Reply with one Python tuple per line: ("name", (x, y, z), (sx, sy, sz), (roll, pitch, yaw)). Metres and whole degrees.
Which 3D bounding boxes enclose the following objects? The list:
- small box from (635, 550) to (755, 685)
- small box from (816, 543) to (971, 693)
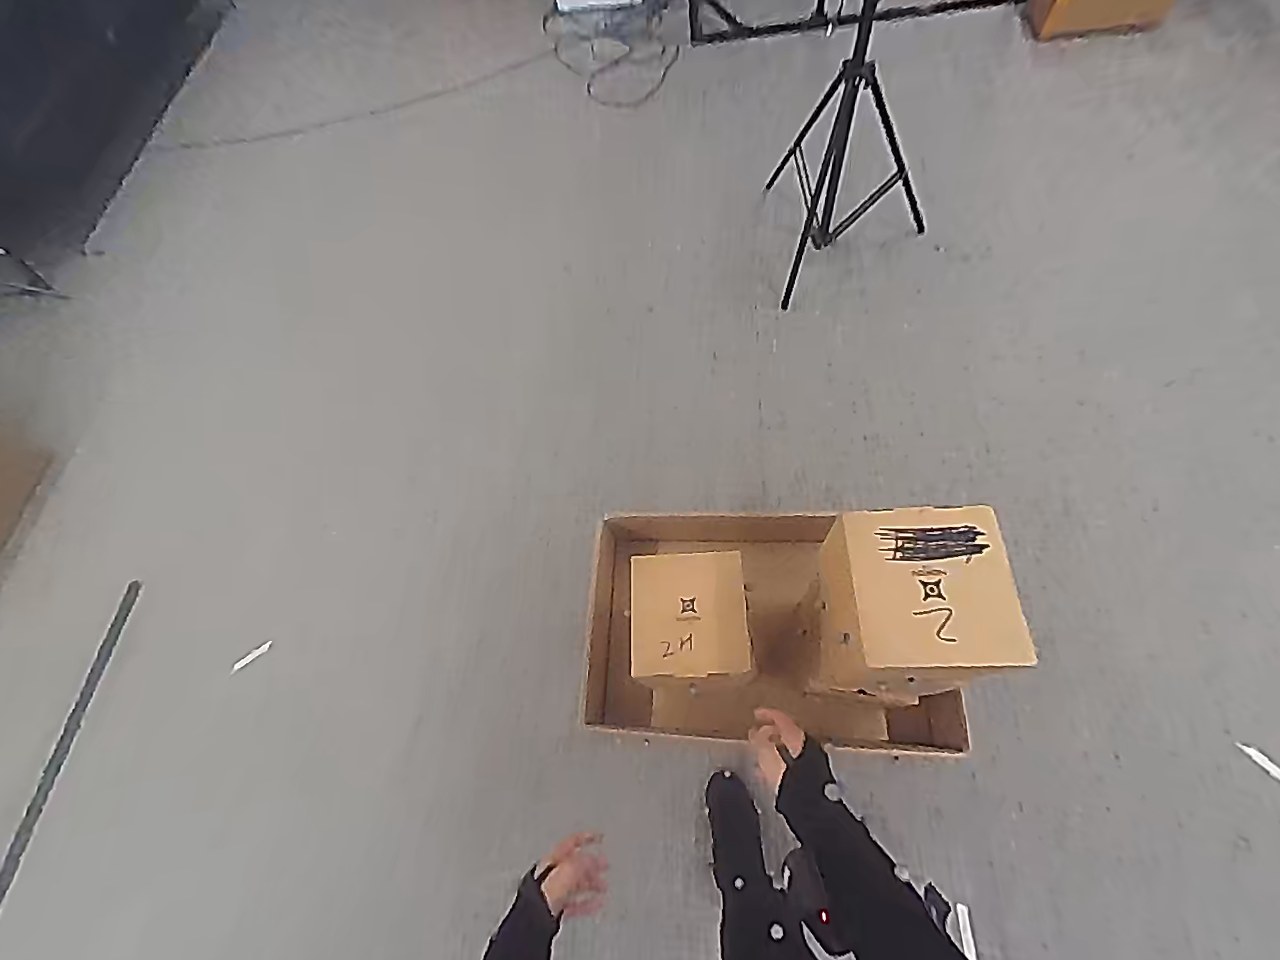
("small box", (0.083, 0.218, 0.840), (0.168, 0.176, 0.179), (-4, 65, 7))
("small box", (0.358, 0.208, 0.798), (0.168, 0.176, 0.179), (3, 66, 10))
